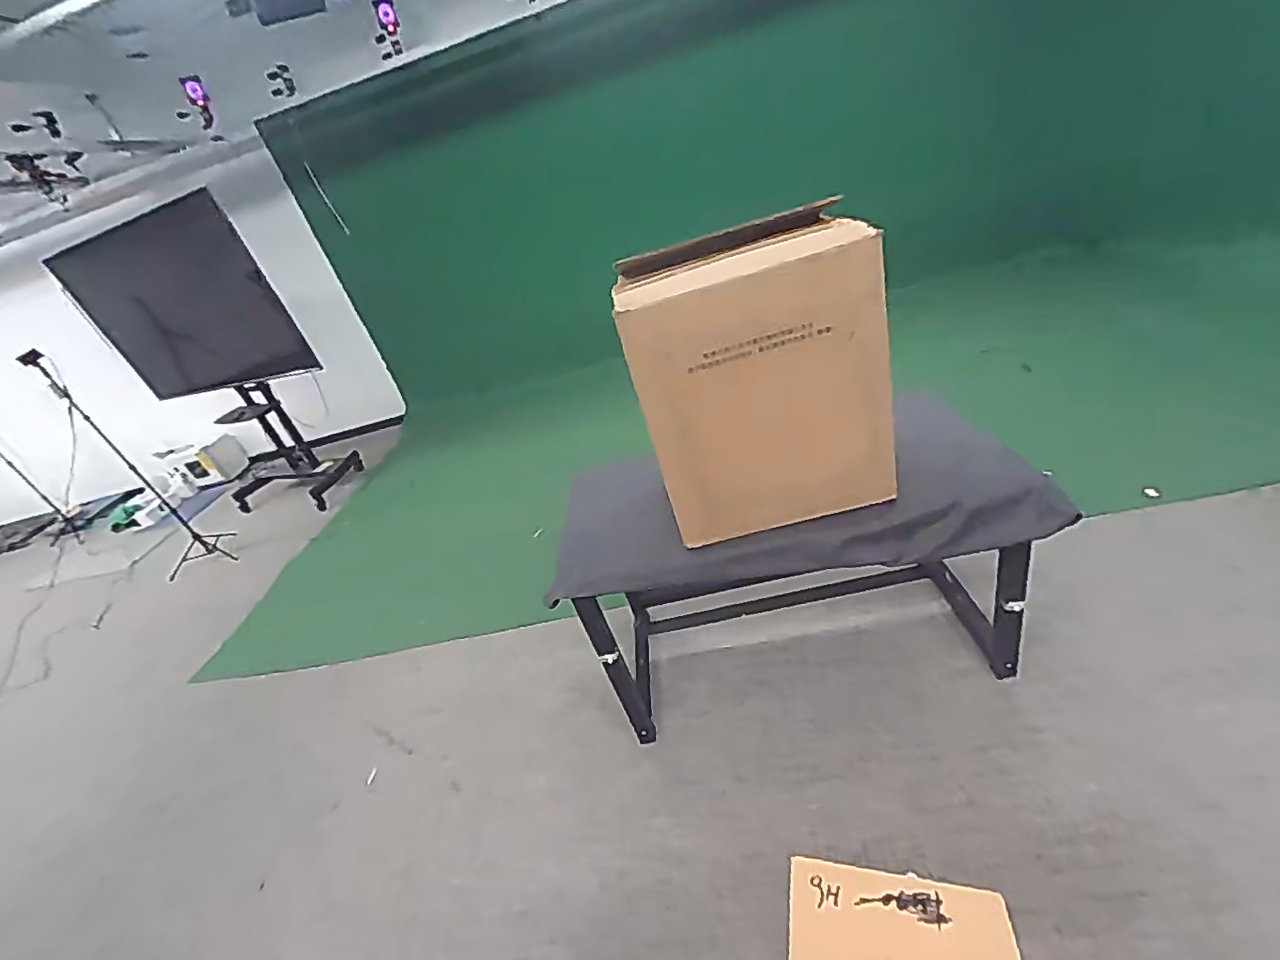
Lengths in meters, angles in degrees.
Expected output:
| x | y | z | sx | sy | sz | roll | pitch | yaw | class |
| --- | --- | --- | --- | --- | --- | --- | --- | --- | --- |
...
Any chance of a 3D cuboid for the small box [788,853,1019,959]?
| x | y | z | sx | sy | sz | roll | pitch | yaw | class |
| --- | --- | --- | --- | --- | --- | --- | --- | --- | --- |
| 0.205 | 0.445 | 0.425 | 0.168 | 0.176 | 0.179 | -1 | 28 | 17 | small box |
